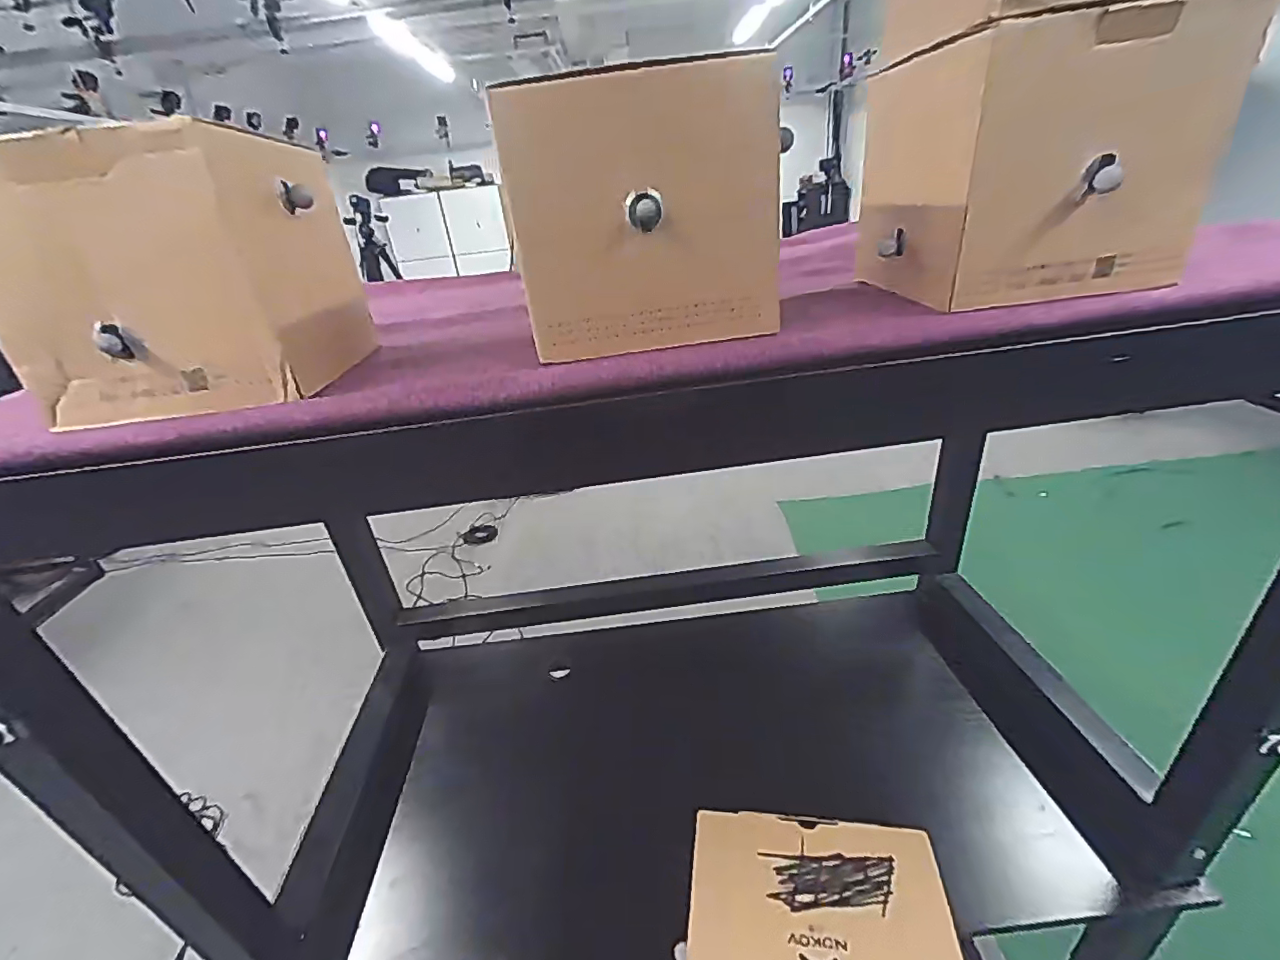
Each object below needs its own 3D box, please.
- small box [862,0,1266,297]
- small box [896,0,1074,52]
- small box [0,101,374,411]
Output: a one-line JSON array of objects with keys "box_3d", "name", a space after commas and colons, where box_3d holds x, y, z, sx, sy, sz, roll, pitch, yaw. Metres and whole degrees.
[{"box_3d": [0.288, -0.245, 0.417, 0.168, 0.176, 0.179, -7, 29, 1], "name": "small box"}, {"box_3d": [0.280, -0.388, 0.338, 0.168, 0.176, 0.179, -7, 29, 4], "name": "small box"}, {"box_3d": [-0.322, -0.161, 0.402, 0.168, 0.176, 0.179, -8, 27, -4], "name": "small box"}]
